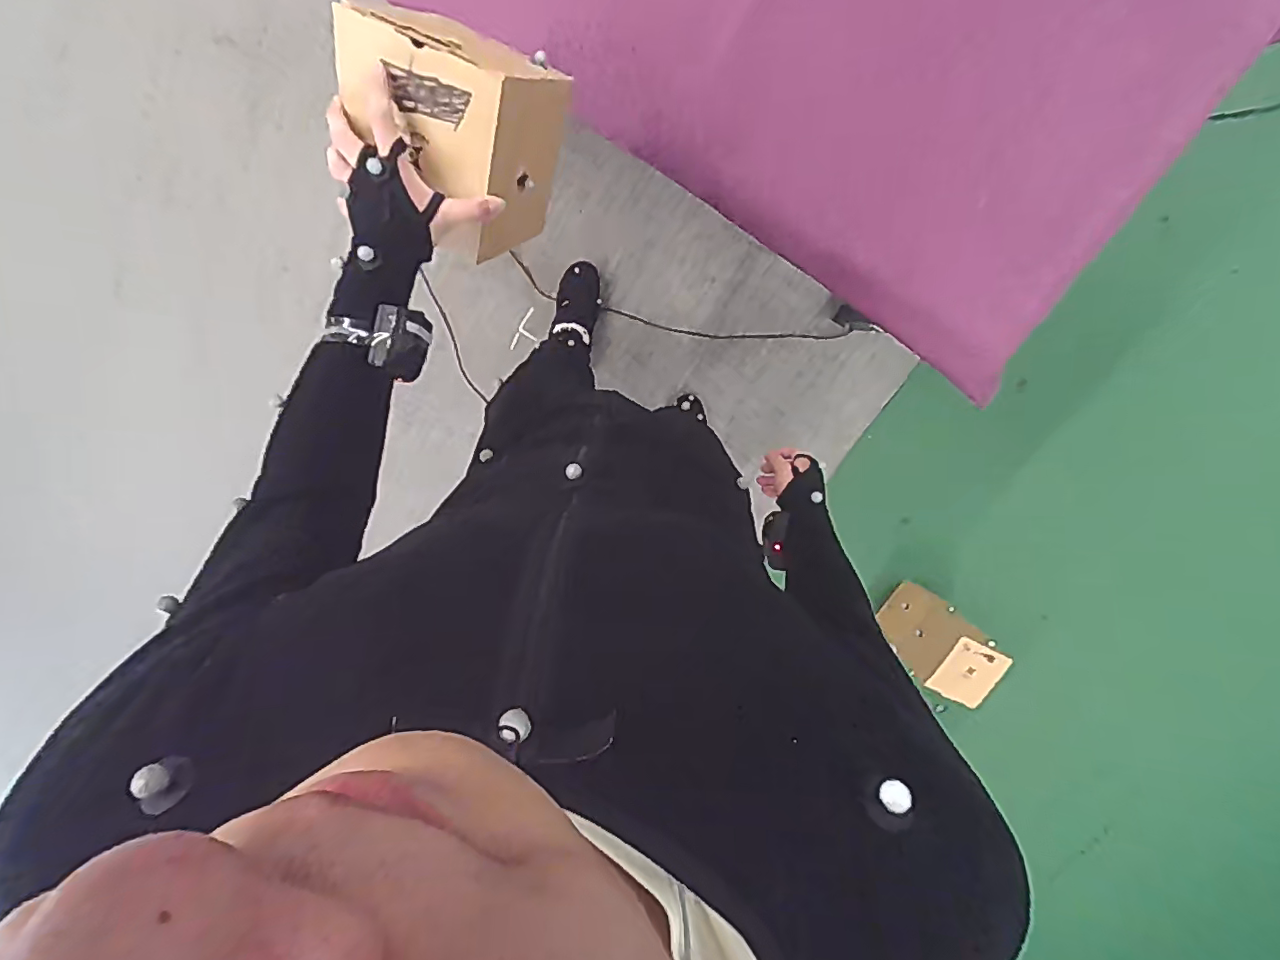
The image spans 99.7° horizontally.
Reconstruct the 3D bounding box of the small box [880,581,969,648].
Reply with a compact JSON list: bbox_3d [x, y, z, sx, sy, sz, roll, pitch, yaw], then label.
[{"bbox_3d":[0.877,0.436,1.659,0.179,0.176,0.168,29,106,-8],"label":"small box"}]

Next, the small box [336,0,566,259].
[{"bbox_3d":[-0.196,-0.376,0.584,0.168,0.176,0.179,27,130,1],"label":"small box"}]

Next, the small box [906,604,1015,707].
[{"bbox_3d":[0.874,0.483,1.502,0.168,0.176,0.179,26,107,-7],"label":"small box"}]
